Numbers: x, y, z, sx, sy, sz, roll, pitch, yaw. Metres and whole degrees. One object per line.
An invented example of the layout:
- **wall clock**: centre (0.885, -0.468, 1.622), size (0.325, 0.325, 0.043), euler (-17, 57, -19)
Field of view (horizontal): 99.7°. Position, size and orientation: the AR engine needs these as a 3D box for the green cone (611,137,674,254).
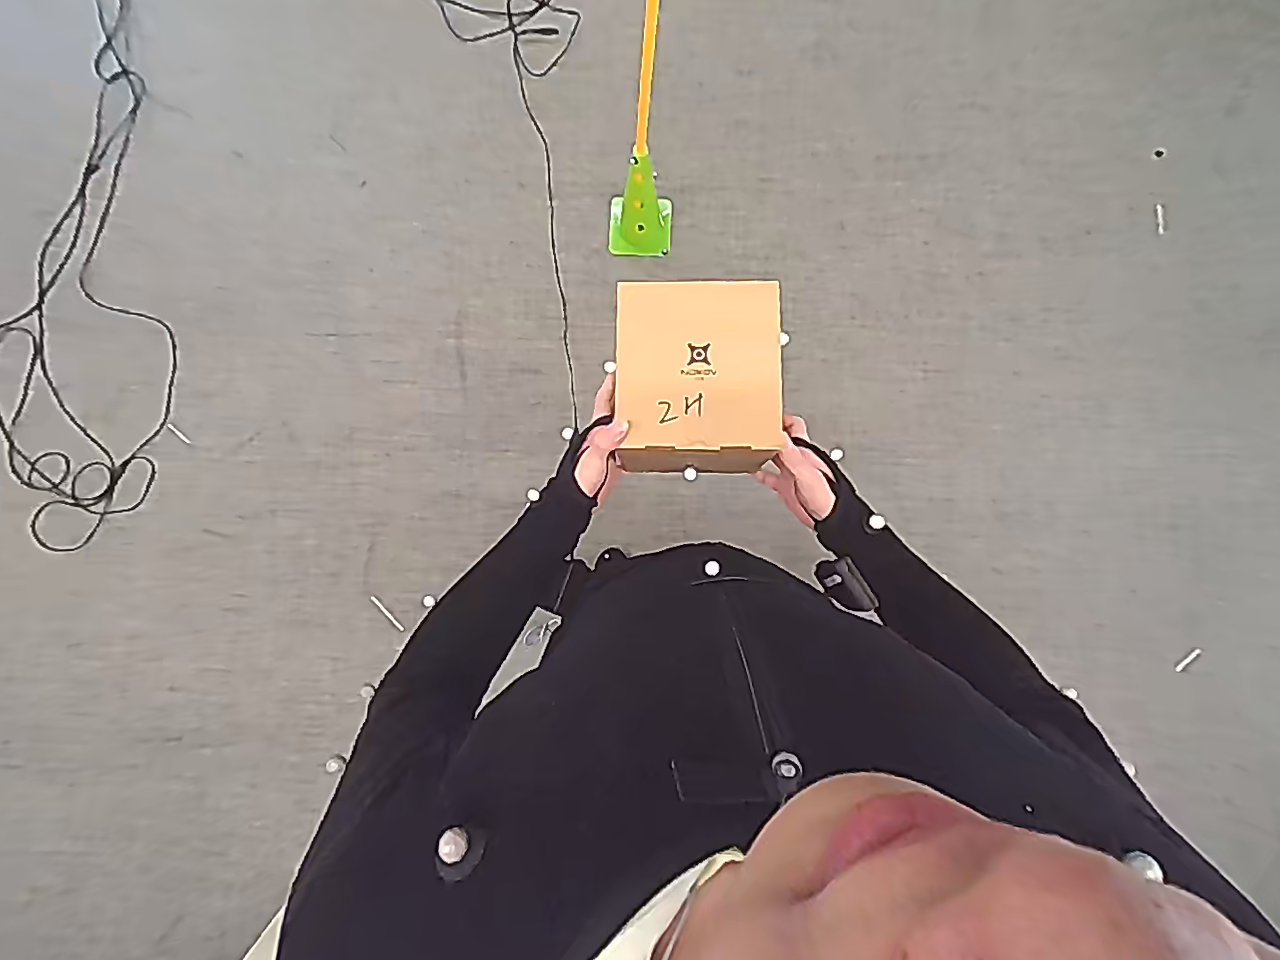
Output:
- **green cone**: centre (0.004, -0.849, 1.574), size (0.202, 0.368, 0.200), euler (2, 82, 2)
